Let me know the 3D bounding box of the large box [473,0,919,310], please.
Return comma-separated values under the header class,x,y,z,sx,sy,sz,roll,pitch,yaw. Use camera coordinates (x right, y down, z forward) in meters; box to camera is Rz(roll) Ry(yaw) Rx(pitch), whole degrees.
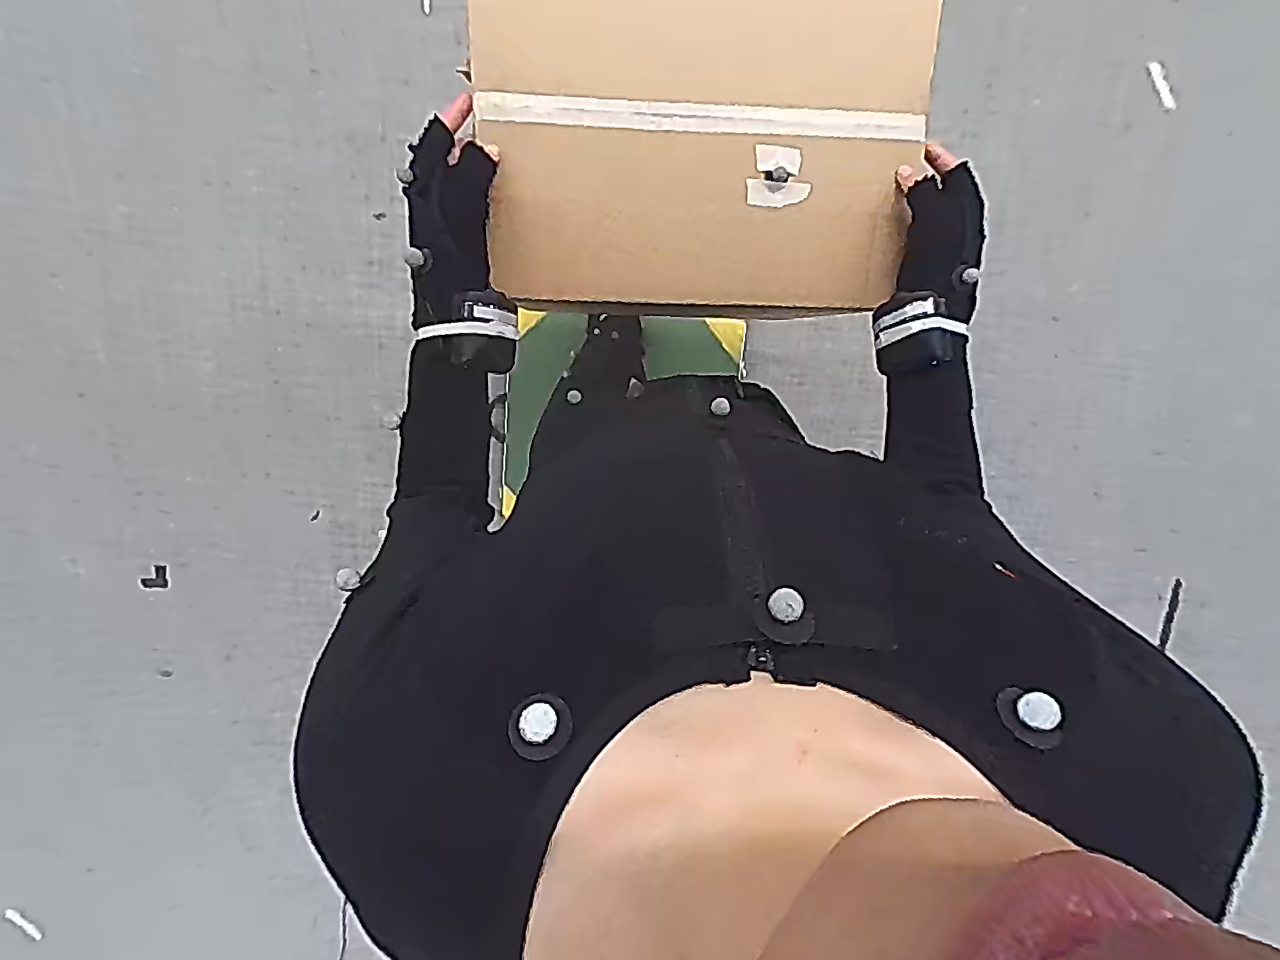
class,x,y,z,sx,sy,sz,roll,pitch,yaw
large box,0.040,-0.372,0.640,0.408,0.320,0.320,-1,105,-5
